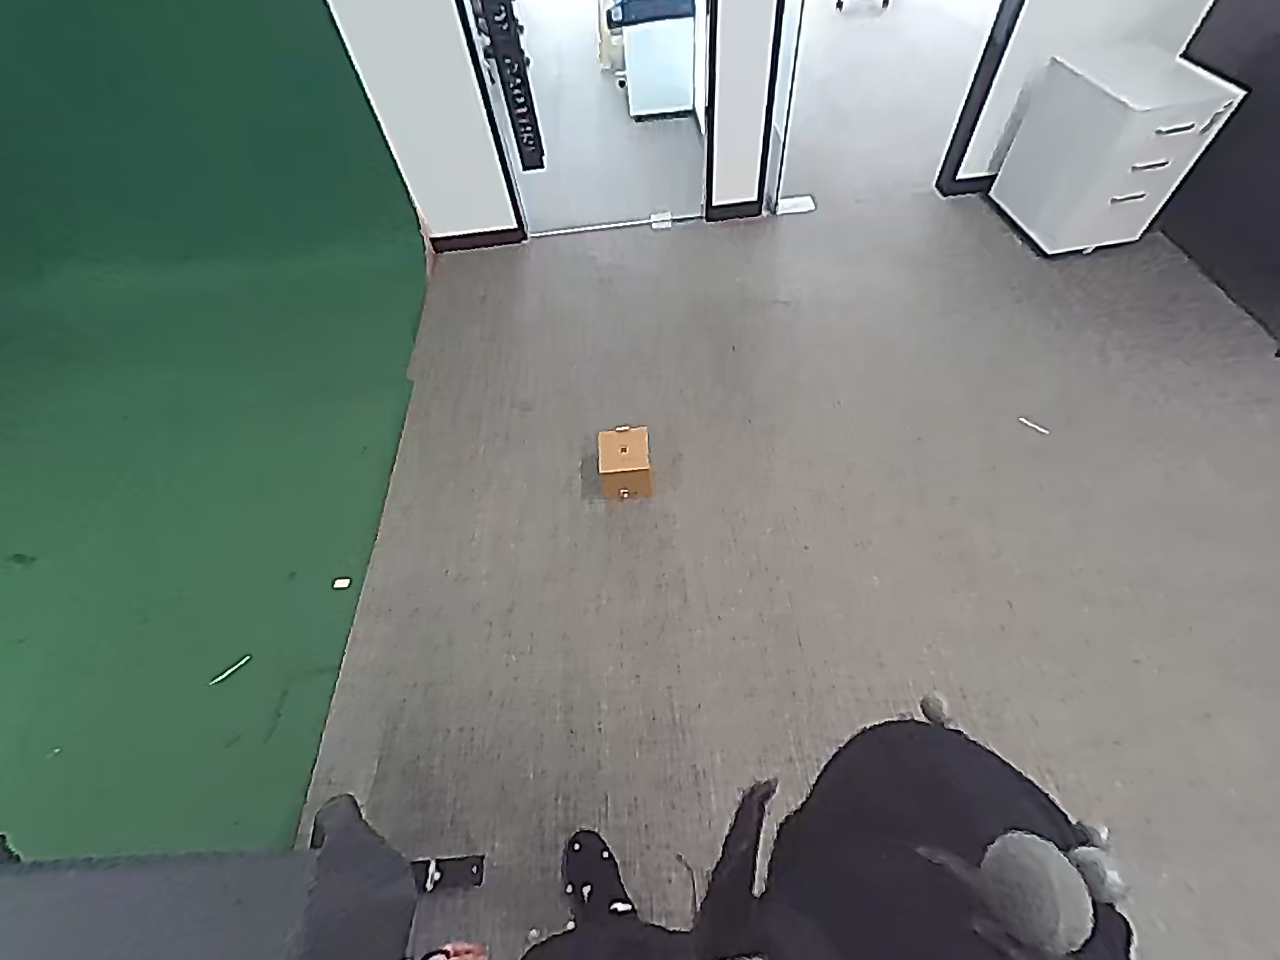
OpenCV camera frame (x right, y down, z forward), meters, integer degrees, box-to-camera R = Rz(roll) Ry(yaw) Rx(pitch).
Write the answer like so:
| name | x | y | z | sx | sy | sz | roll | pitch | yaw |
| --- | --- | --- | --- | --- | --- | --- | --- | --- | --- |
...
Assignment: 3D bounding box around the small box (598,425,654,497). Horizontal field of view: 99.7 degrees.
| name | x | y | z | sx | sy | sz | roll | pitch | yaw |
| --- | --- | --- | --- | --- | --- | --- | --- | --- | --- |
| small box | -0.045 | -0.061 | 1.810 | 0.168 | 0.176 | 0.179 | -5 | 55 | 5 |
